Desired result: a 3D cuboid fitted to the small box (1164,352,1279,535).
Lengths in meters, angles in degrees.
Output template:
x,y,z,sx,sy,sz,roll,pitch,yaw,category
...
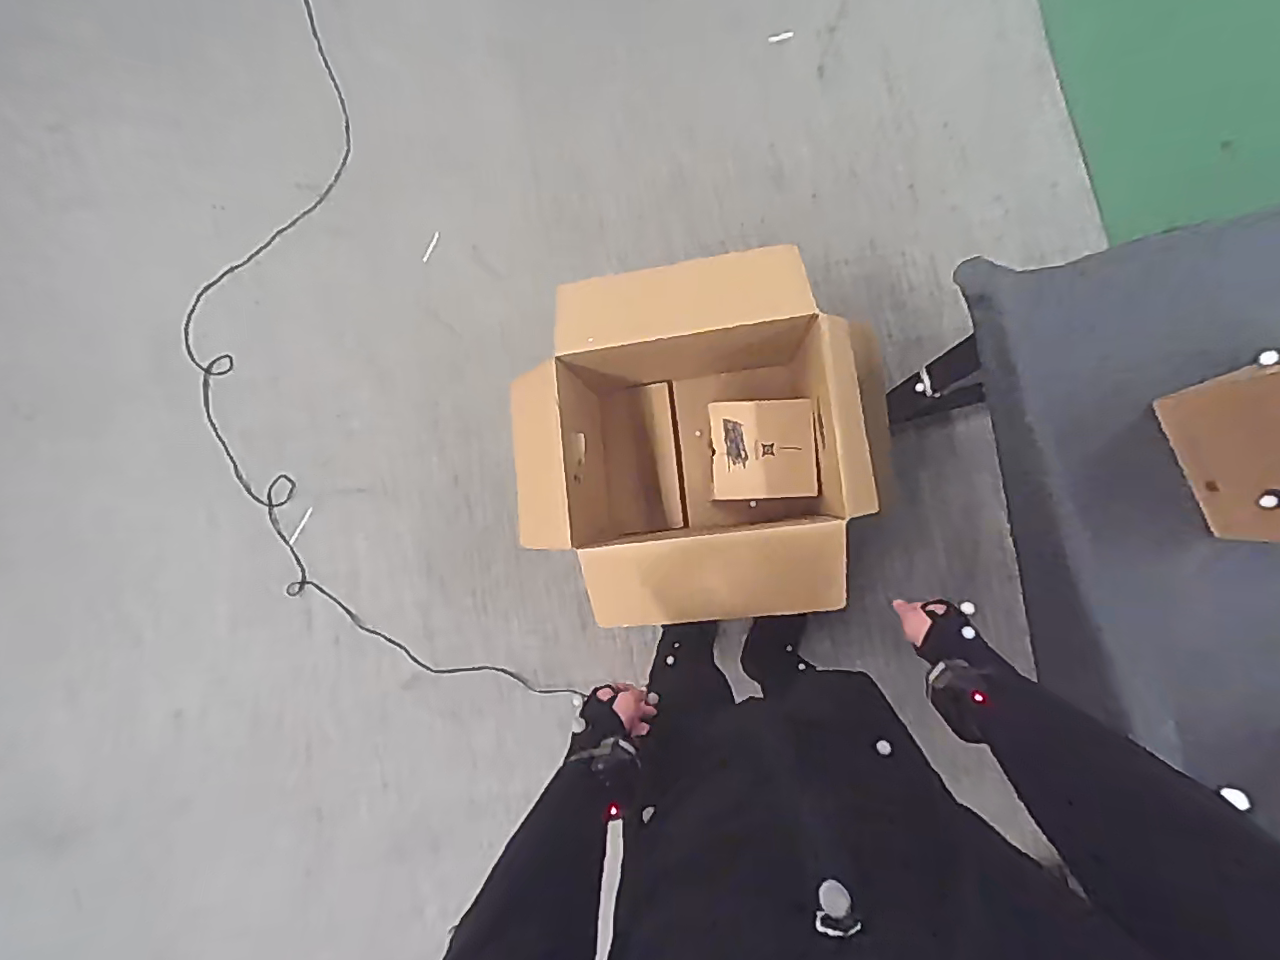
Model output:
x,y,z,sx,sy,sz,roll,pitch,yaw,category
0.669,-0.047,0.517,0.179,0.176,0.168,-21,86,4,small box
